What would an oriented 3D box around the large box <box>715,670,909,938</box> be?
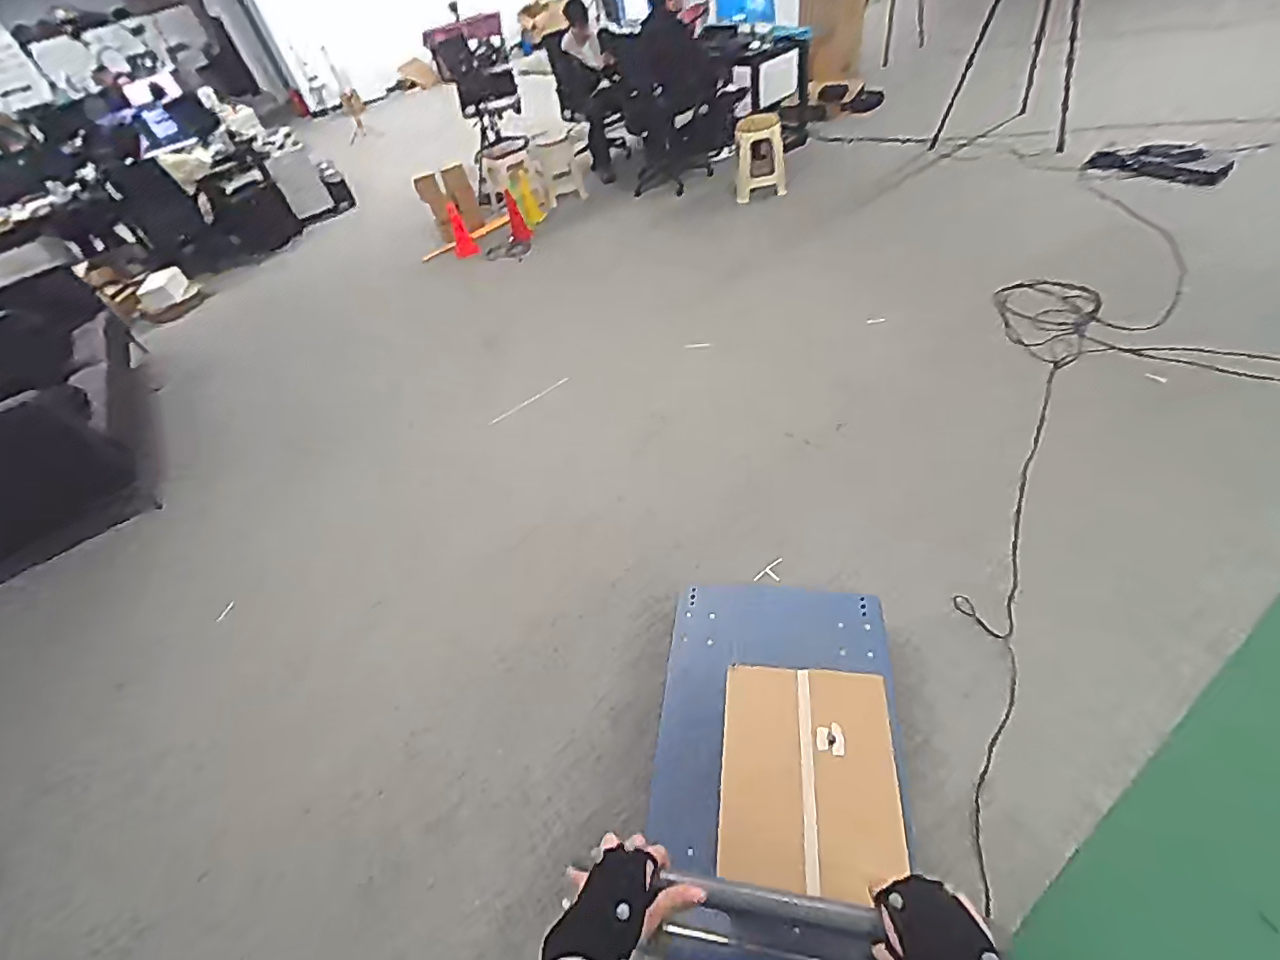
[{"bbox_3d":[0.335,0.661,1.124,0.320,0.320,0.408,0,47,14],"label":"large box"}]
